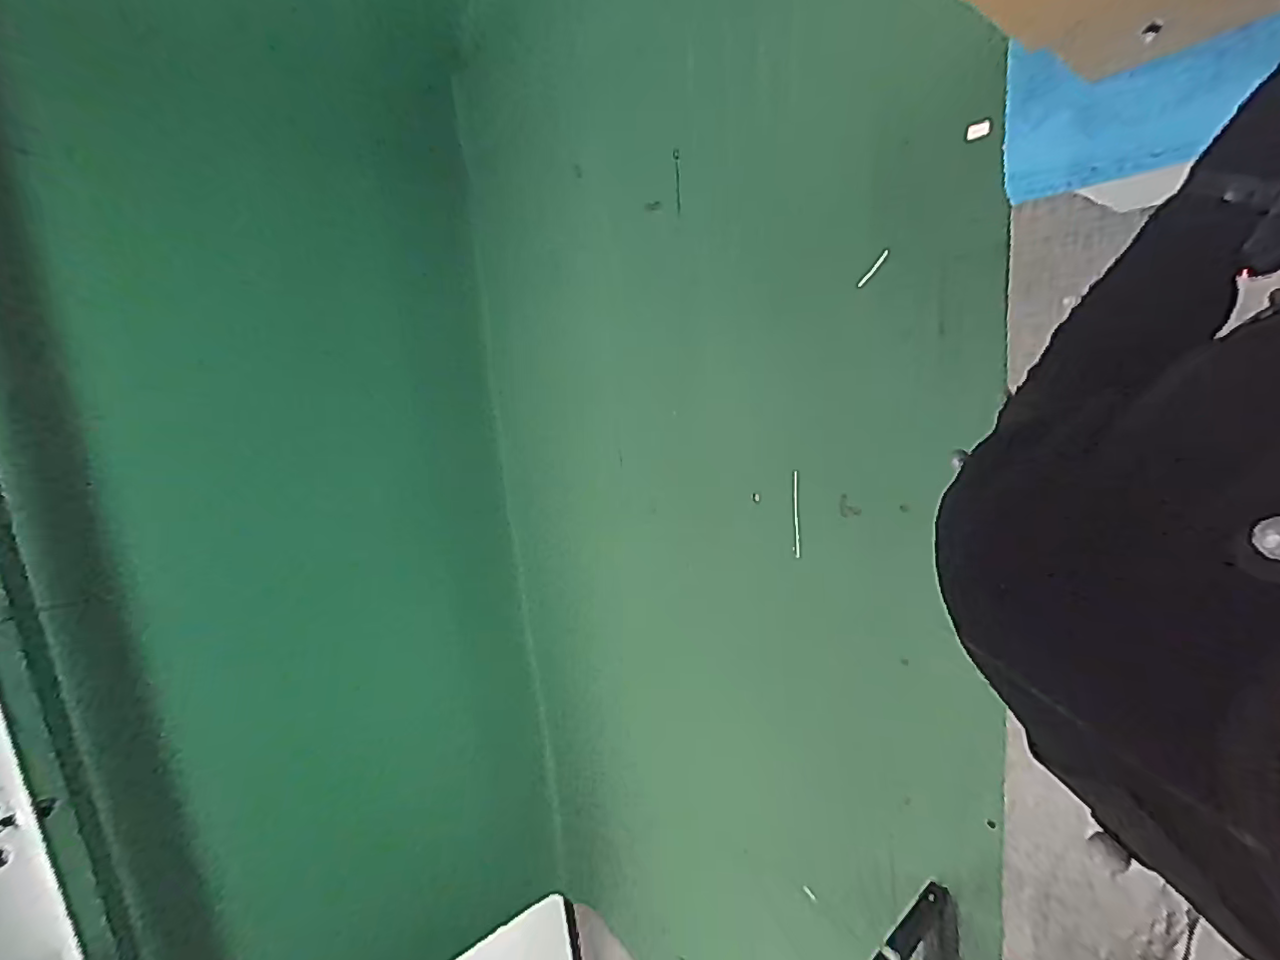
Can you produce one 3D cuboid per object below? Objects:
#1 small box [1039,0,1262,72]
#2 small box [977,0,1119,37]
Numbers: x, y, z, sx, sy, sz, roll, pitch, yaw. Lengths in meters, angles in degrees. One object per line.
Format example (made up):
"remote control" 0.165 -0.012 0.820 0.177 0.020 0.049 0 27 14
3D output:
"small box" 0.546 -0.569 0.557 0.179 0.176 0.168 8 106 52
"small box" 0.411 -0.540 0.468 0.179 0.176 0.168 8 106 52
